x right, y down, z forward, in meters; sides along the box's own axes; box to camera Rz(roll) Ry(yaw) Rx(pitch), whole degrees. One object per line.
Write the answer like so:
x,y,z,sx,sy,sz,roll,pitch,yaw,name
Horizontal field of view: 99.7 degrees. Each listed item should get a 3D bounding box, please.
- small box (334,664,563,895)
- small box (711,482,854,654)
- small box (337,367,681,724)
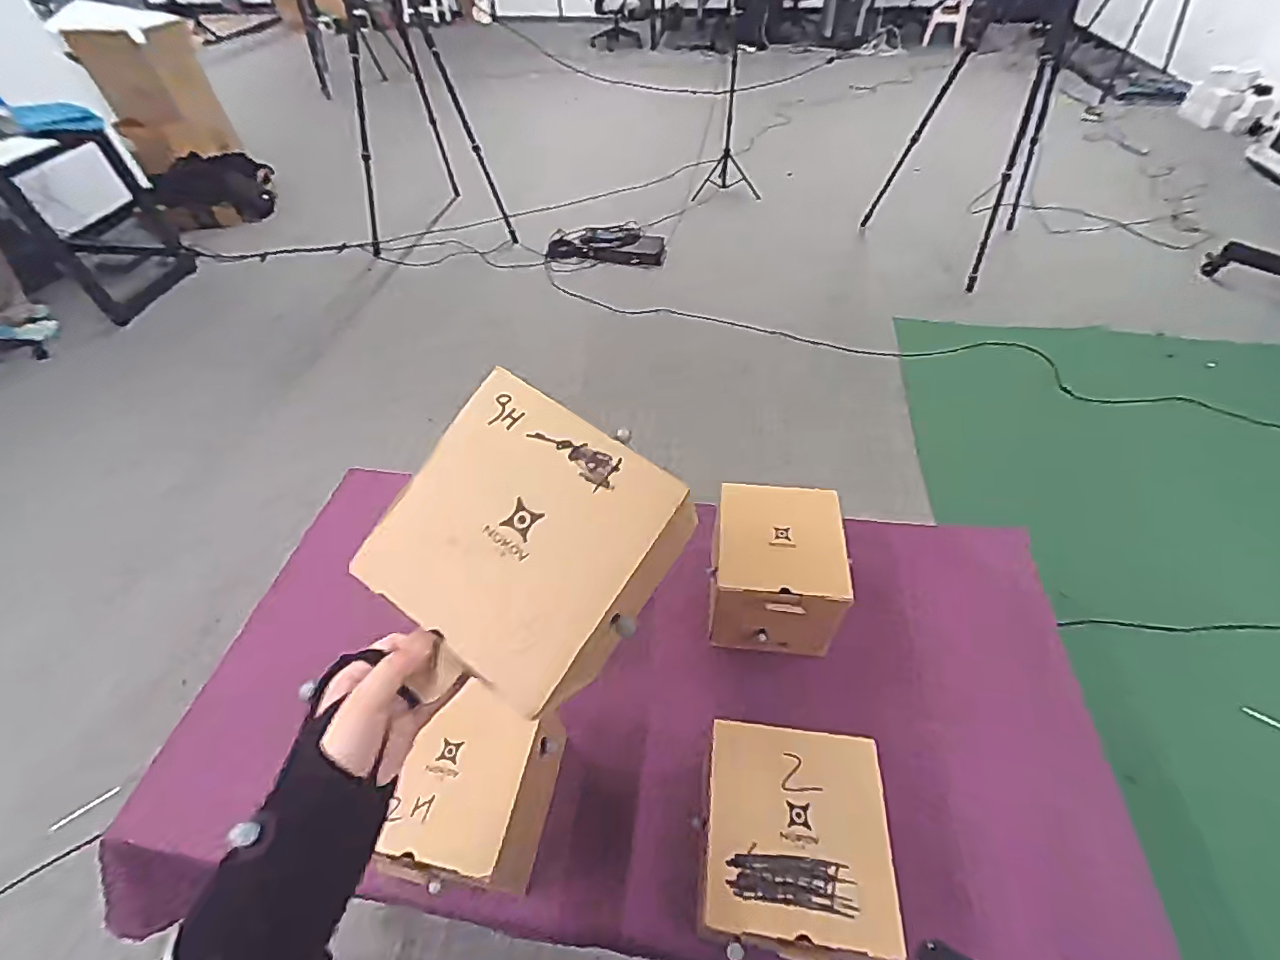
-0.192,0.338,0.609,0.168,0.176,0.179,7,49,9,small box
0.191,0.127,0.778,0.168,0.176,0.179,4,50,6,small box
-0.078,0.051,0.426,0.168,0.176,0.179,35,85,13,small box
